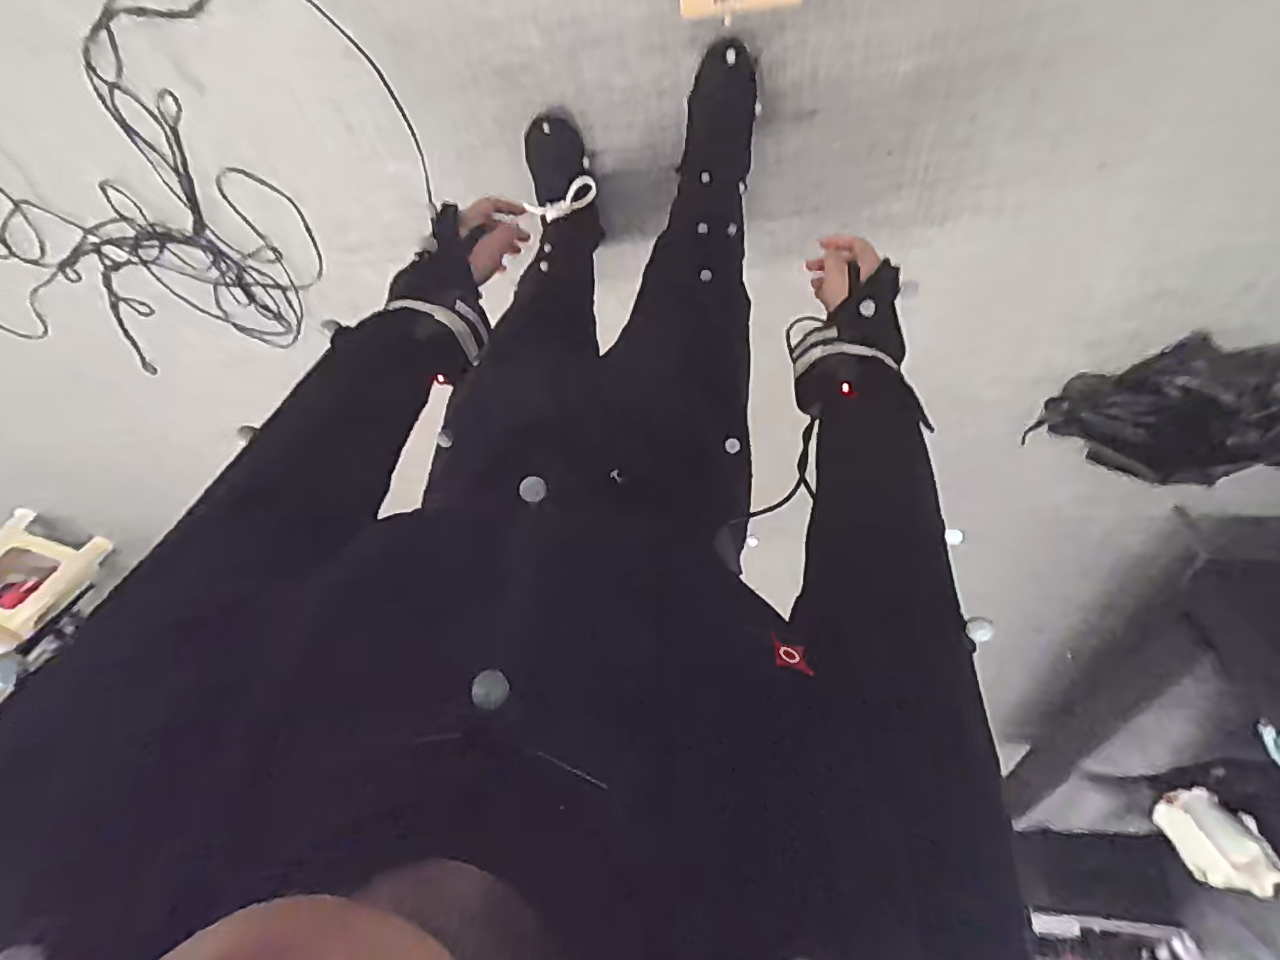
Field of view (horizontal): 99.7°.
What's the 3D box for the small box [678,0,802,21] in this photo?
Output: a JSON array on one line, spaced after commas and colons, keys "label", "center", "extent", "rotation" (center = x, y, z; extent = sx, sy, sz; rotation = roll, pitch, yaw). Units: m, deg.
[{"label": "small box", "center": [0.133, -0.745, 0.722], "extent": [0.168, 0.176, 0.179], "rotation": [0, 136, 9]}]
